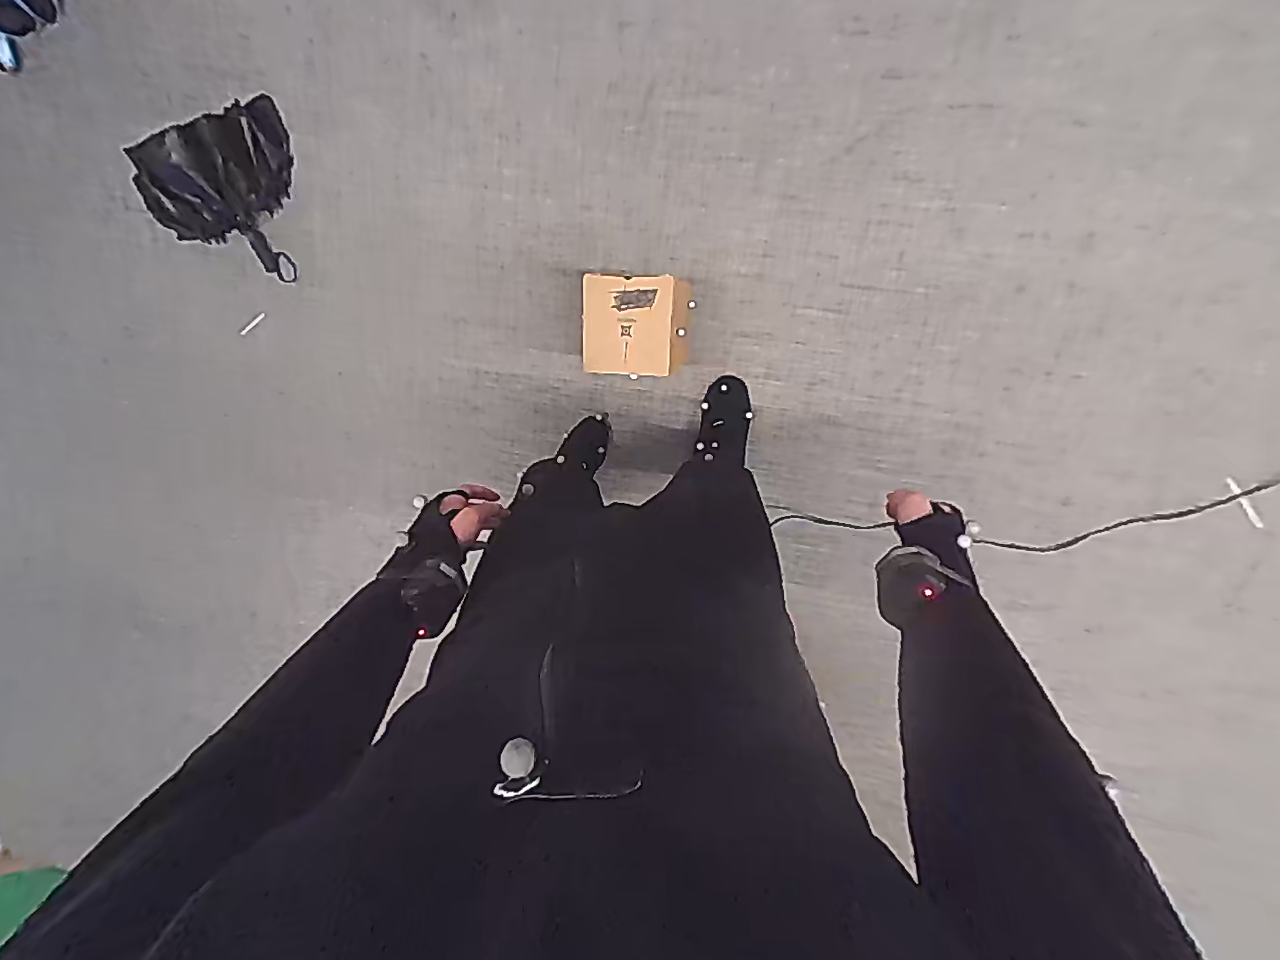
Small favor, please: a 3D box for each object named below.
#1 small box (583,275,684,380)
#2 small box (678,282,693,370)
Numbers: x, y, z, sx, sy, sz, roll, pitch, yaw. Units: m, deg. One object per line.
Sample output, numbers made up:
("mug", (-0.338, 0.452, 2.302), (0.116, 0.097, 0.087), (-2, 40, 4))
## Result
("small box", (-0.007, -0.295, 1.048), (0.168, 0.176, 0.179), (6, 107, 9))
("small box", (0.024, -0.346, 1.201), (0.168, 0.176, 0.179), (6, 108, 10))
